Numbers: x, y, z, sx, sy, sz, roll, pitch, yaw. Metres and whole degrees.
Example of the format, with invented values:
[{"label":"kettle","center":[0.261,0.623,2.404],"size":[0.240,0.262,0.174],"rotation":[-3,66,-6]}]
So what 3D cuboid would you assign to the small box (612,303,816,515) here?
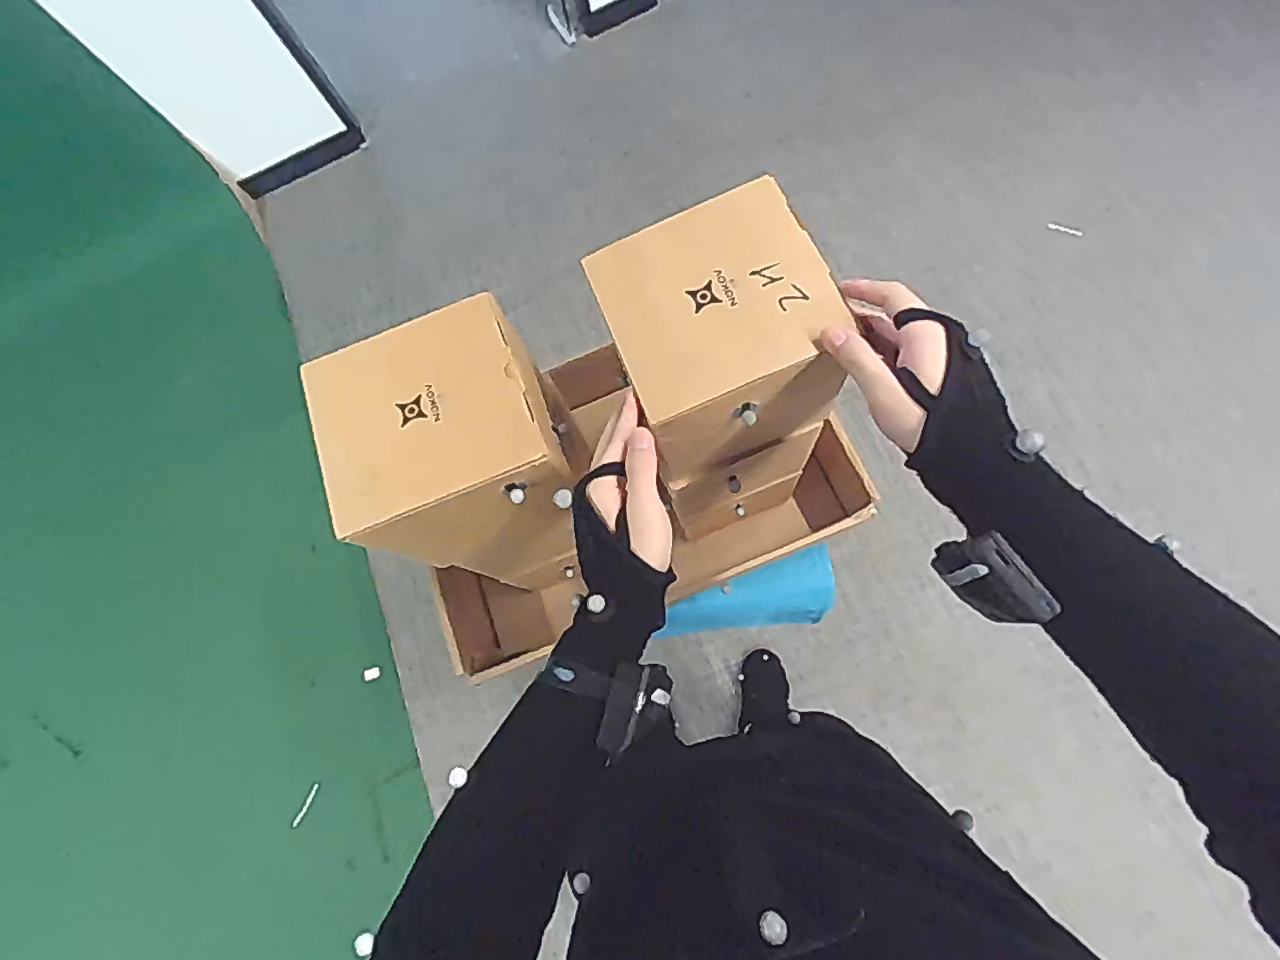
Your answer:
[{"label":"small box","center":[0.090,-0.072,0.657],"size":[0.179,0.176,0.168],"rotation":[-25,73,3]}]
